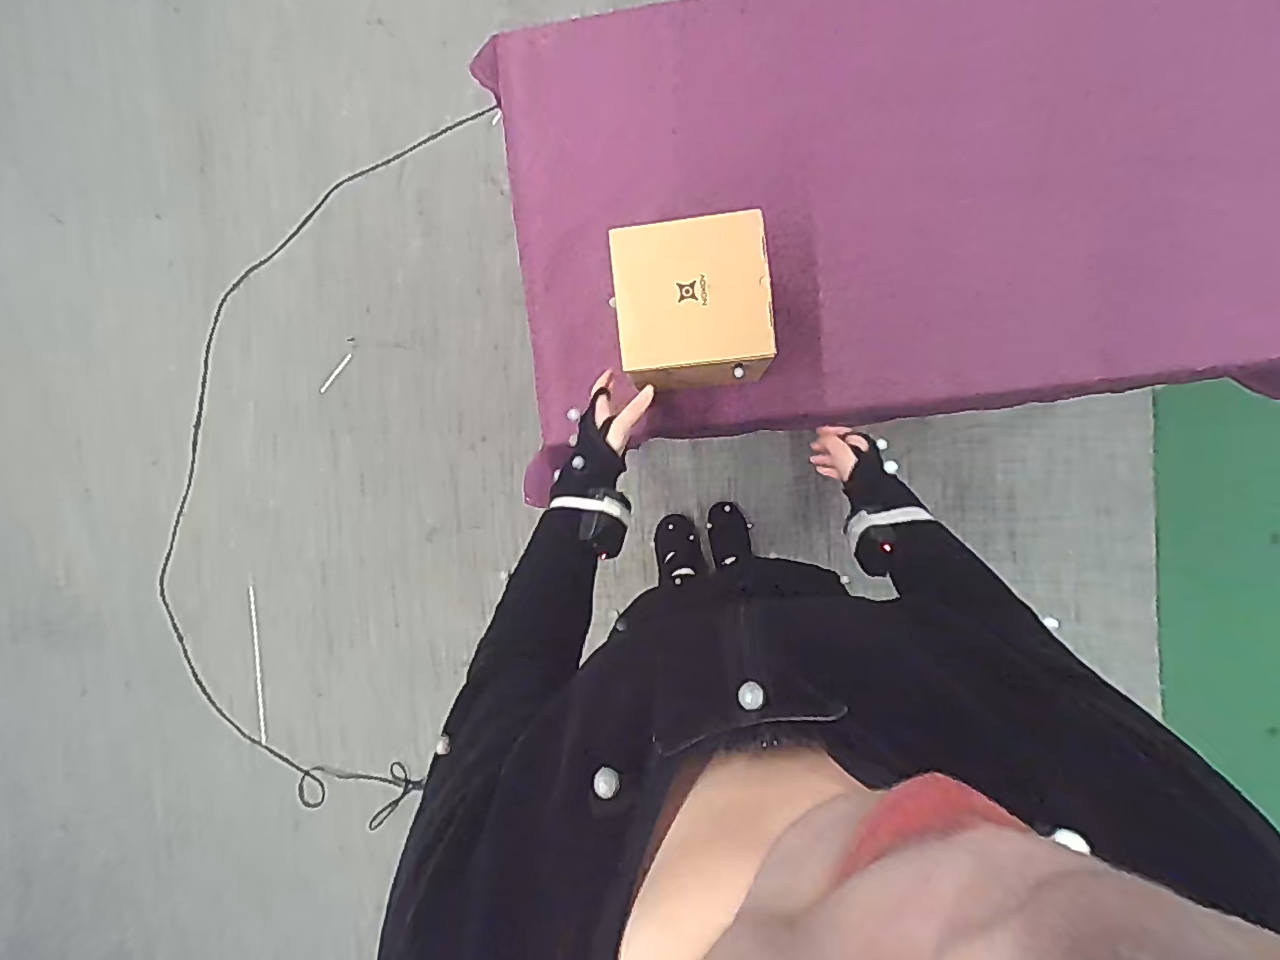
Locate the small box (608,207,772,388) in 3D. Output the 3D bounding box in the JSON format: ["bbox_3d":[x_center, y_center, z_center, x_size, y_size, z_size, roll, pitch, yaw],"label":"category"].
[{"bbox_3d":[0.062,-0.218,0.691,0.179,0.176,0.168,-6,91,4],"label":"small box"}]
